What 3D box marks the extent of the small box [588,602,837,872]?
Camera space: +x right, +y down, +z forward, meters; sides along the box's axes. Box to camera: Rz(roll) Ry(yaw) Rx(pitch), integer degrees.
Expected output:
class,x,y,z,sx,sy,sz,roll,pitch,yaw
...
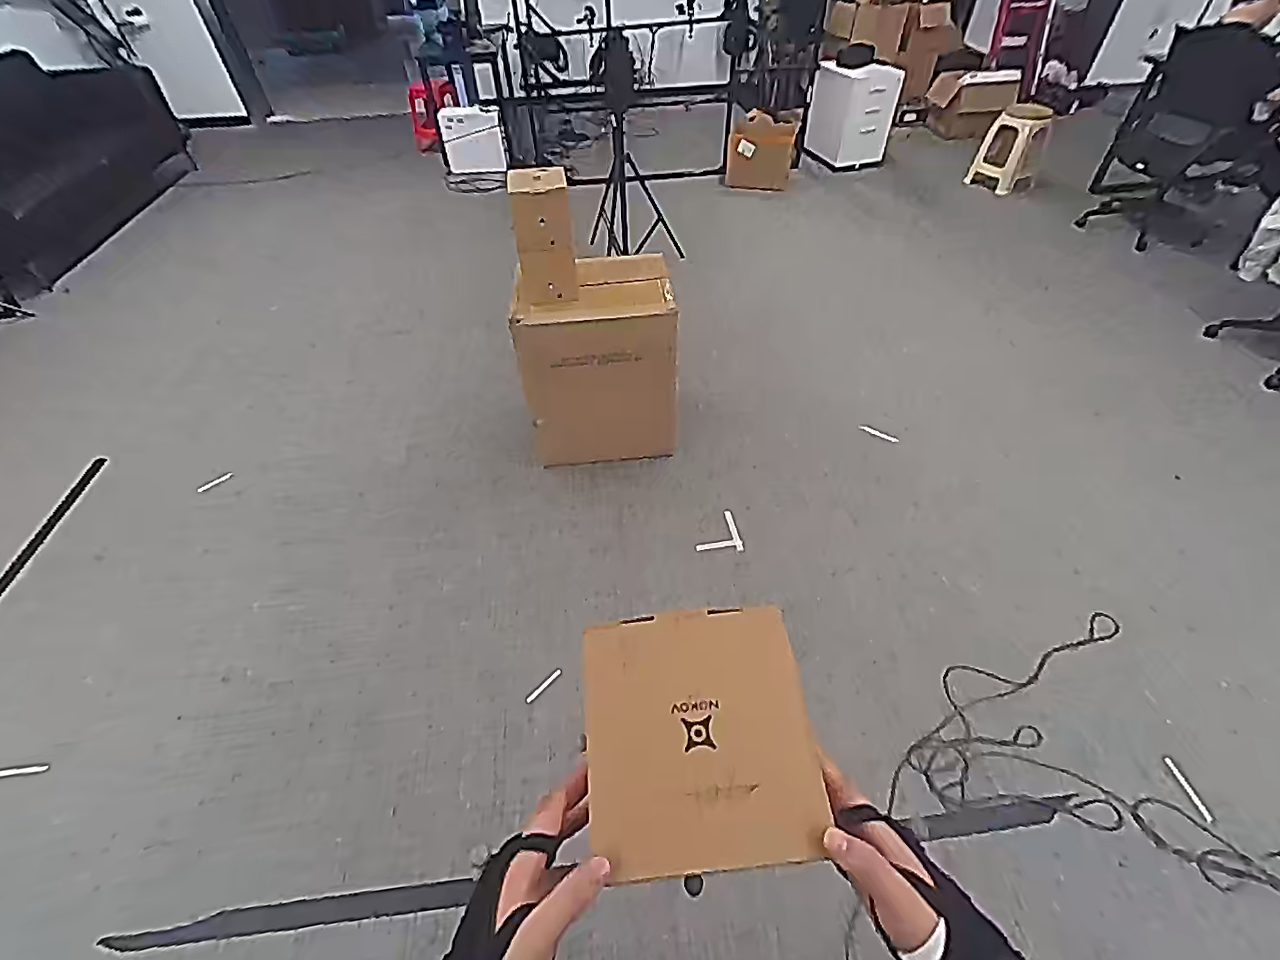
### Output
class,x,y,z,sx,sy,sz,roll,pitch,yaw
small box,0.046,0.225,0.469,0.168,0.176,0.179,-6,56,-1

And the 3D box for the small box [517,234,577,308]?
class,x,y,z,sx,sy,sz,roll,pitch,yaw
small box,-0.293,-0.670,1.722,0.168,0.176,0.179,-6,48,-5

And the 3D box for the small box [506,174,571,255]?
class,x,y,z,sx,sy,sz,roll,pitch,yaw
small box,-0.298,-0.782,1.602,0.168,0.176,0.179,-7,49,-6
